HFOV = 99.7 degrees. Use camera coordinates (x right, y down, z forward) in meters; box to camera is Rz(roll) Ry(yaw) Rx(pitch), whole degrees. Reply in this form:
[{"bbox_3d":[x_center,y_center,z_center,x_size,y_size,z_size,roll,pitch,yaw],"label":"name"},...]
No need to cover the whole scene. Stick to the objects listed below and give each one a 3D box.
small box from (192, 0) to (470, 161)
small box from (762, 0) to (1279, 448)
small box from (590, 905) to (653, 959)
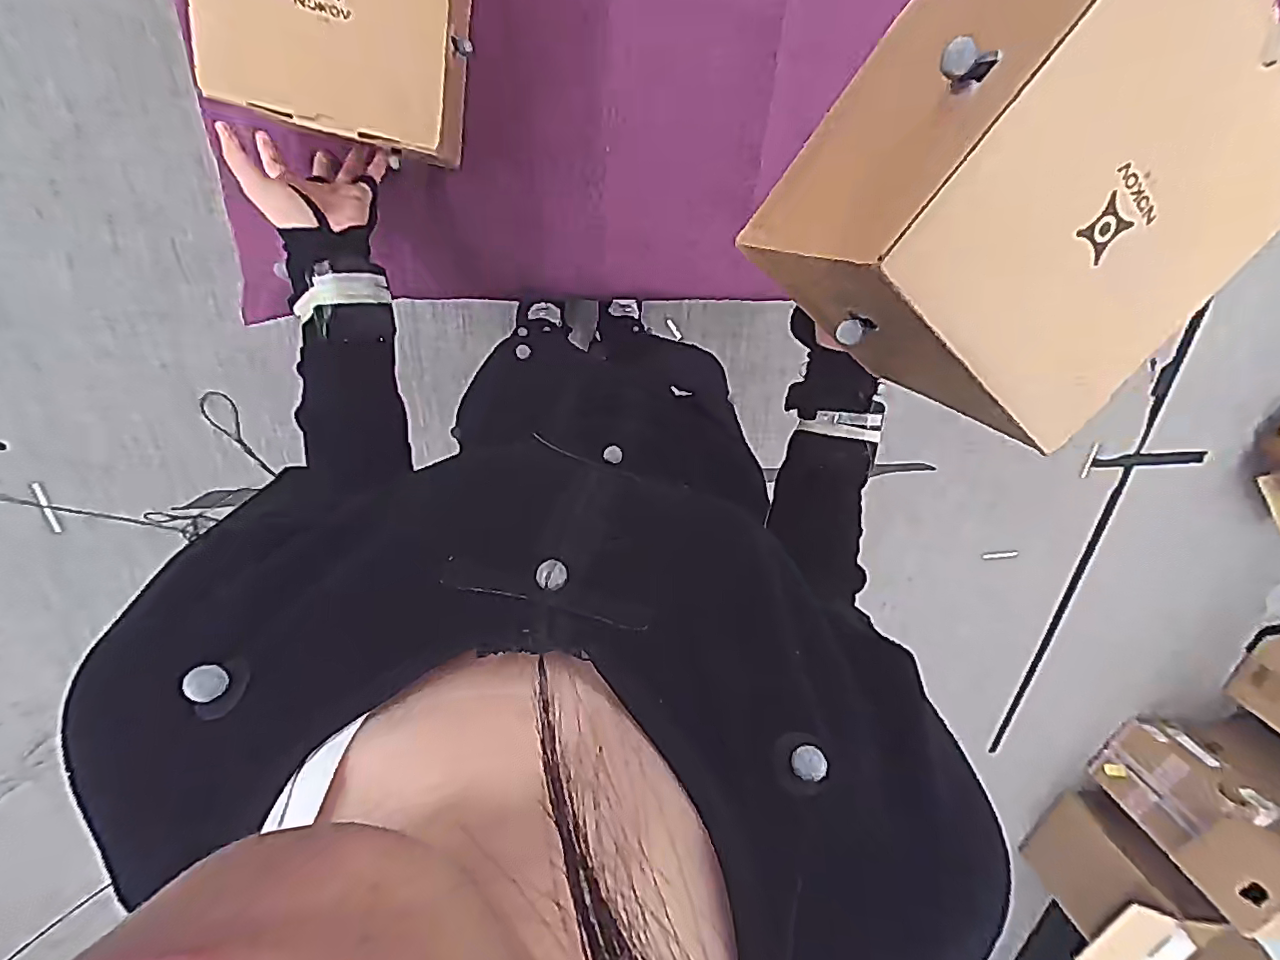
[{"bbox_3d":[-0.234,-0.381,0.444,0.168,0.176,0.179,6,114,-17],"label":"small box"},{"bbox_3d":[0.196,-0.154,0.317,0.168,0.176,0.179,32,104,-25],"label":"small box"},{"bbox_3d":[-0.064,1.498,1.729,0.168,0.176,0.179,1,115,-13],"label":"small box"}]
